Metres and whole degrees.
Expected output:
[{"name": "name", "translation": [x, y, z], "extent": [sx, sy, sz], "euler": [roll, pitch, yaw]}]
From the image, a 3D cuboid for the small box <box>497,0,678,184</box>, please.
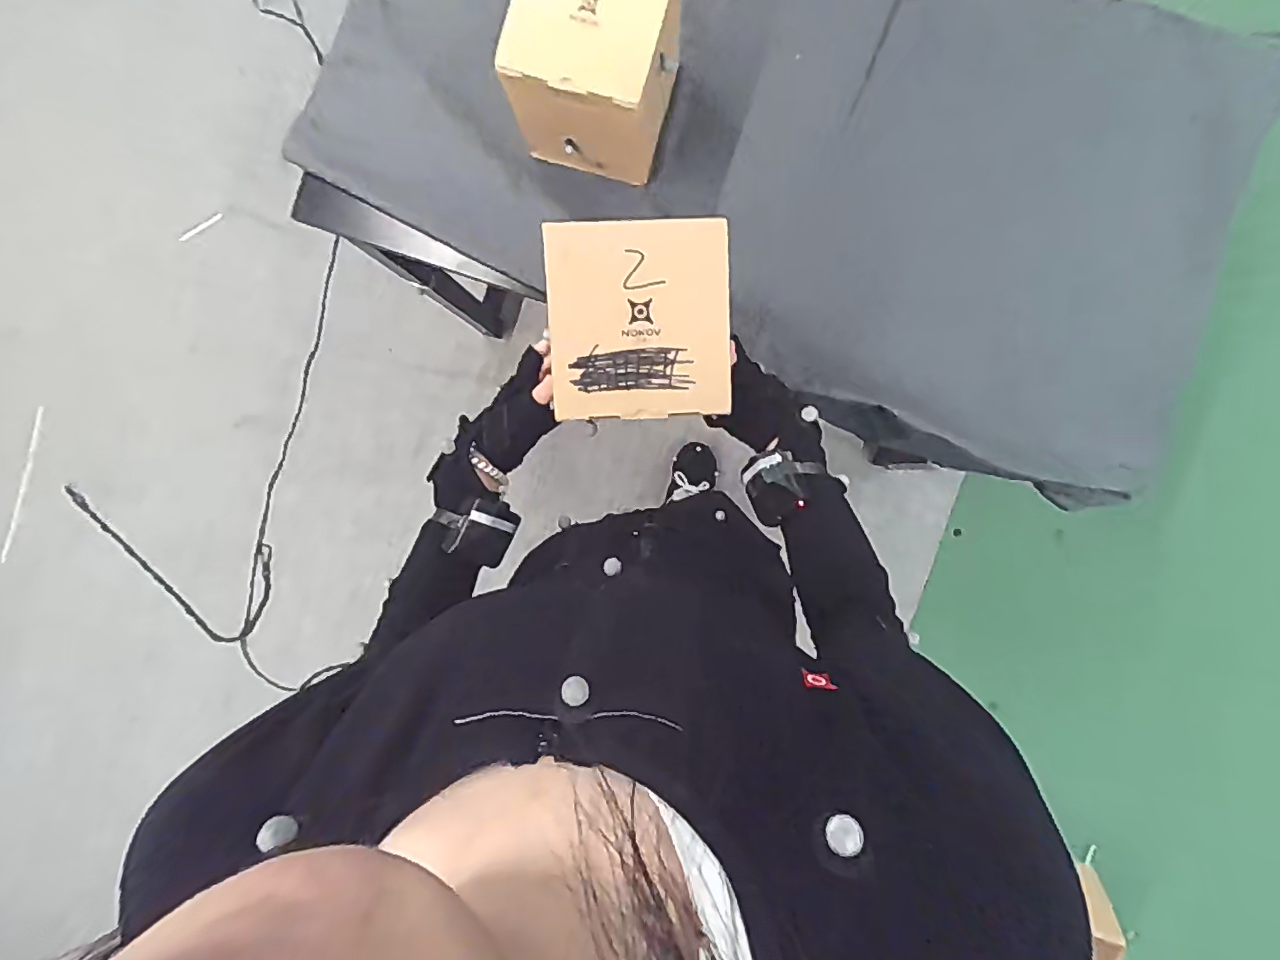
[{"name": "small box", "translation": [-0.055, -0.511, 0.669], "extent": [0.168, 0.176, 0.179], "euler": [16, 93, 1]}]
